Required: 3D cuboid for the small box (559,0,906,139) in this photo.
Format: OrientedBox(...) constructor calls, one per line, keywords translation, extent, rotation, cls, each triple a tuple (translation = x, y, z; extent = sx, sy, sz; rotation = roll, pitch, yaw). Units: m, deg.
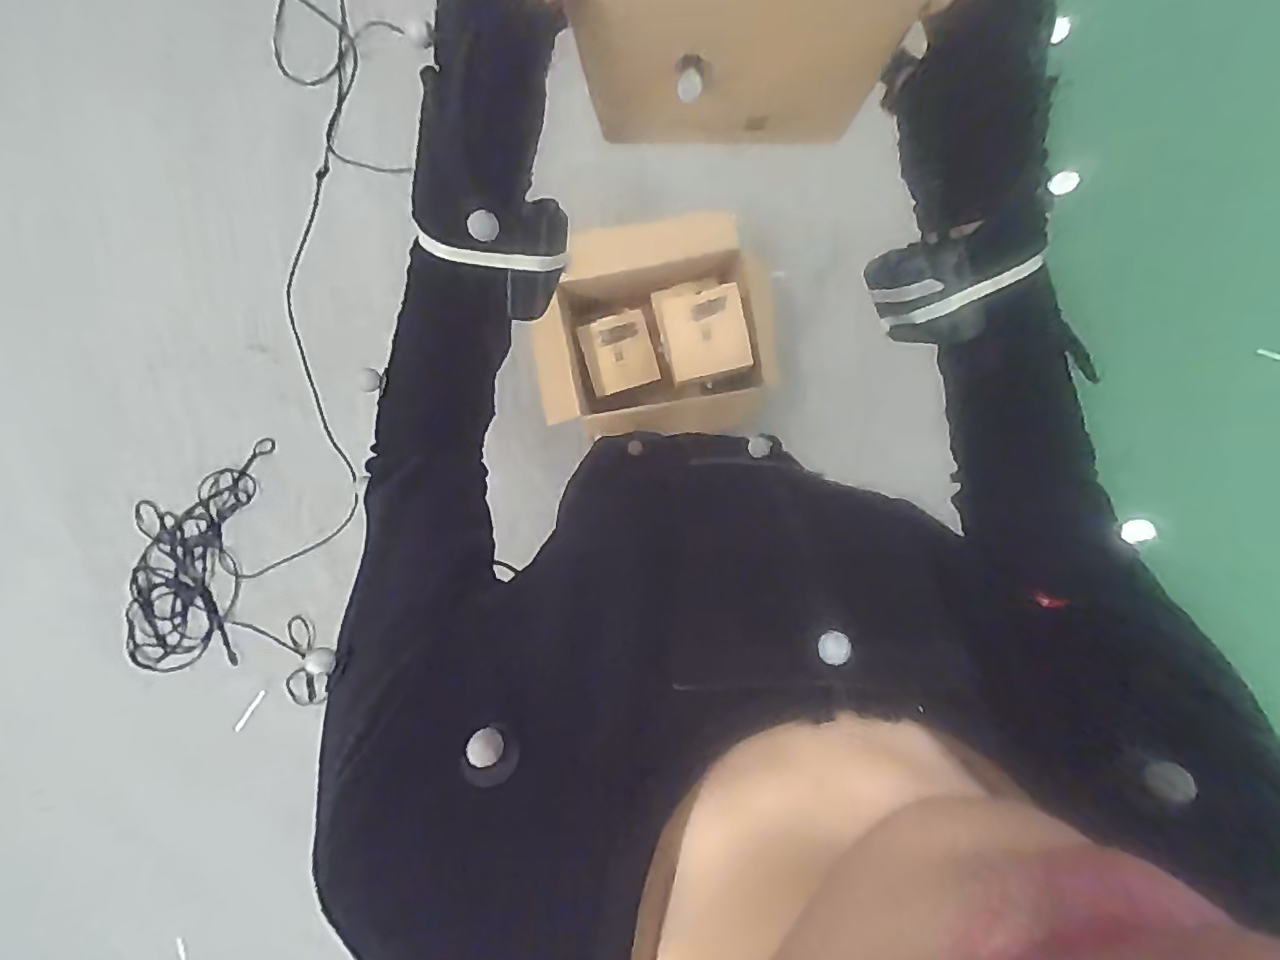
OrientedBox(translation=(0.053, -0.307, 0.283), extent=(0.168, 0.176, 0.179), rotation=(3, 98, 4), cls="small box")
